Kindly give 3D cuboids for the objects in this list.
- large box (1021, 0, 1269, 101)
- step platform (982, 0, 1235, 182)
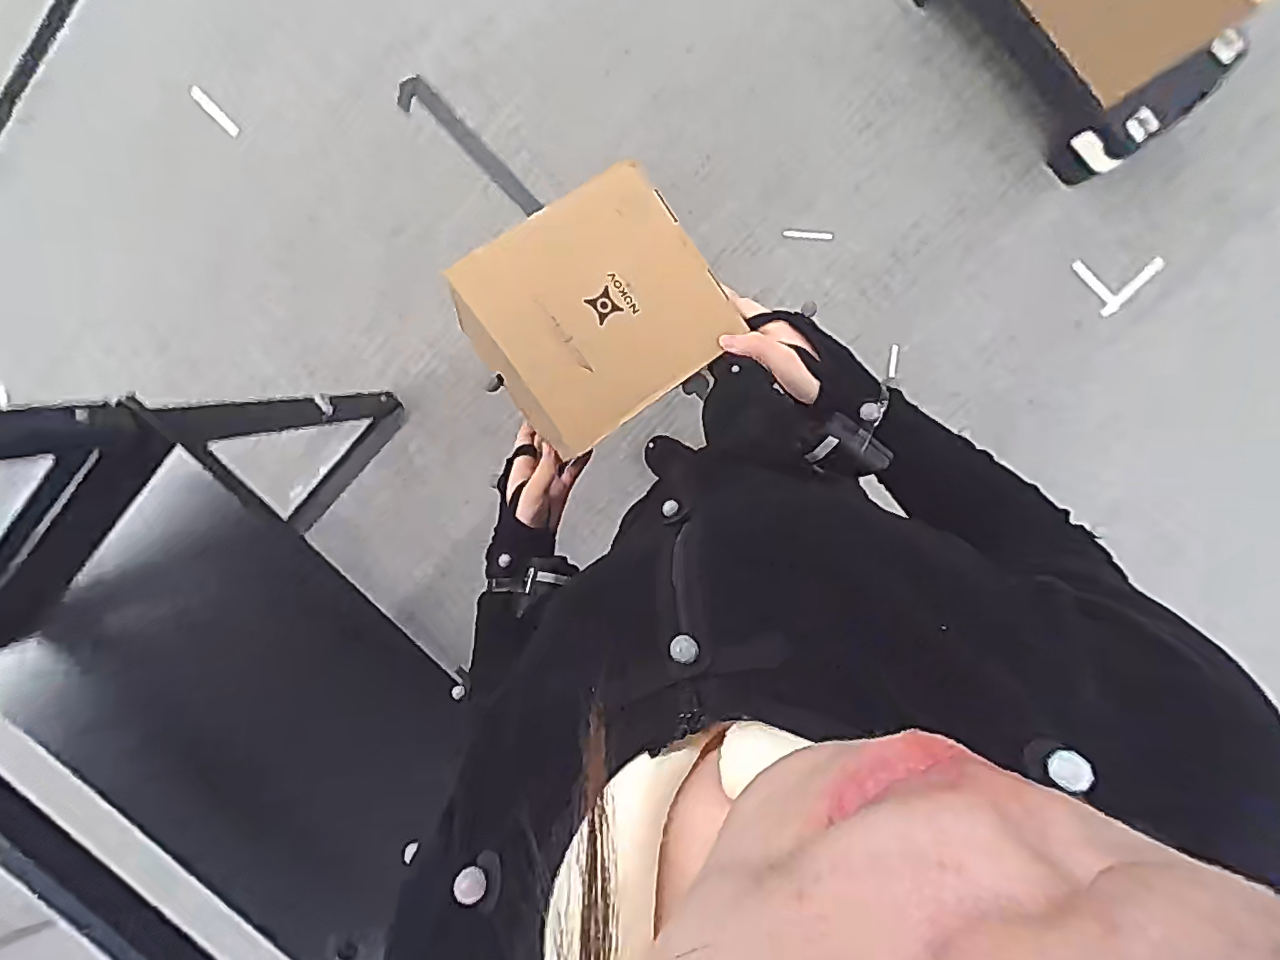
[{"bbox_3d":[0.901,-0.968,0.901,0.320,0.320,0.408,-44,93,10],"label":"large box"},{"bbox_3d":[0.881,-1.013,1.138,0.286,0.204,0.684,-38,94,10],"label":"step platform"}]
